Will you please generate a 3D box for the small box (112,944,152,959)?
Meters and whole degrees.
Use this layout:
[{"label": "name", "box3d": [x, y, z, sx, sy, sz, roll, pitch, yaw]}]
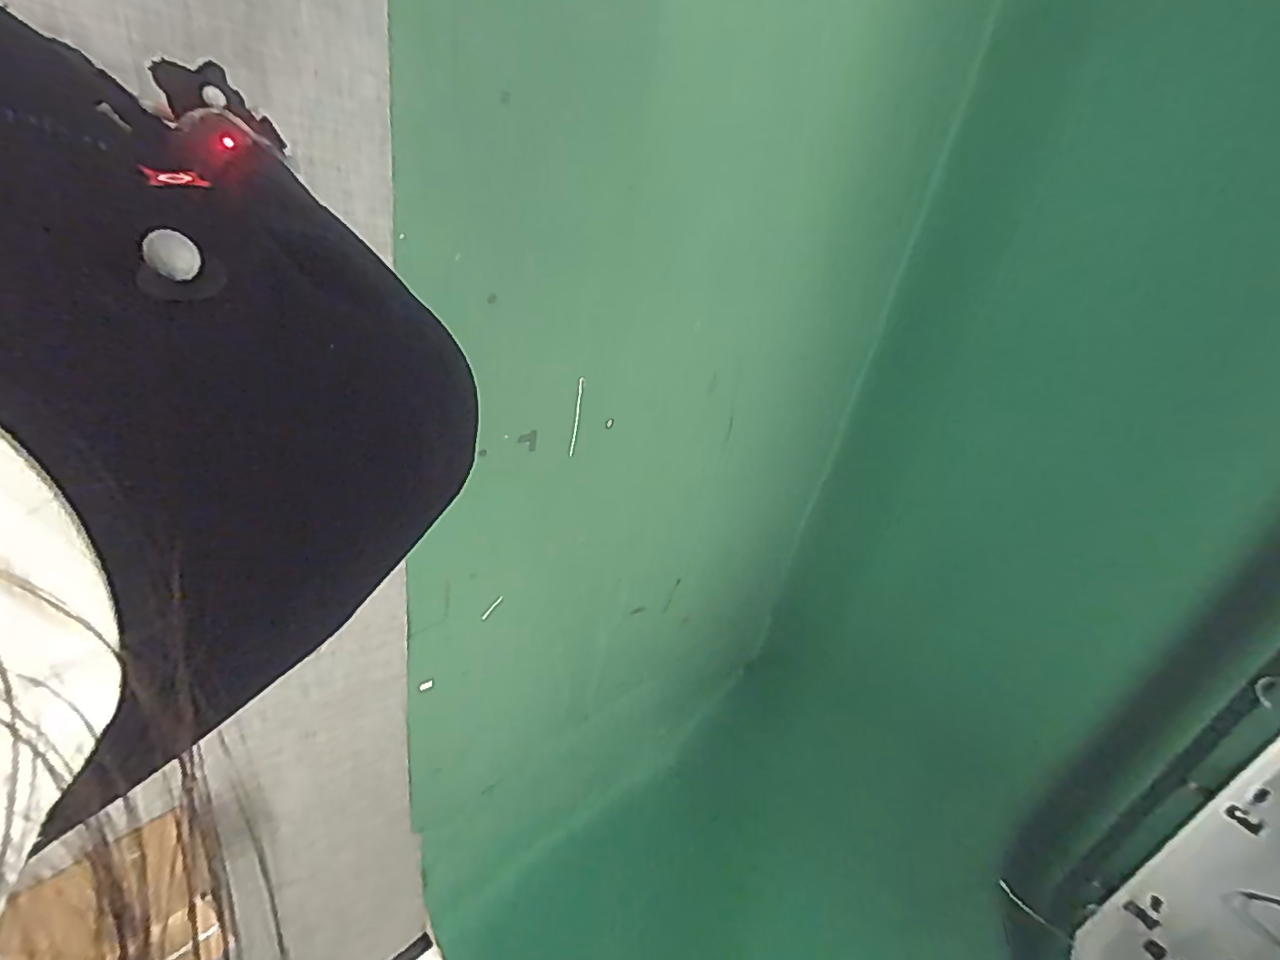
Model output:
[{"label": "small box", "box3d": [-1.255, 1.268, 1.279, 0.179, 0.176, 0.168, -20, 128, -40]}]
